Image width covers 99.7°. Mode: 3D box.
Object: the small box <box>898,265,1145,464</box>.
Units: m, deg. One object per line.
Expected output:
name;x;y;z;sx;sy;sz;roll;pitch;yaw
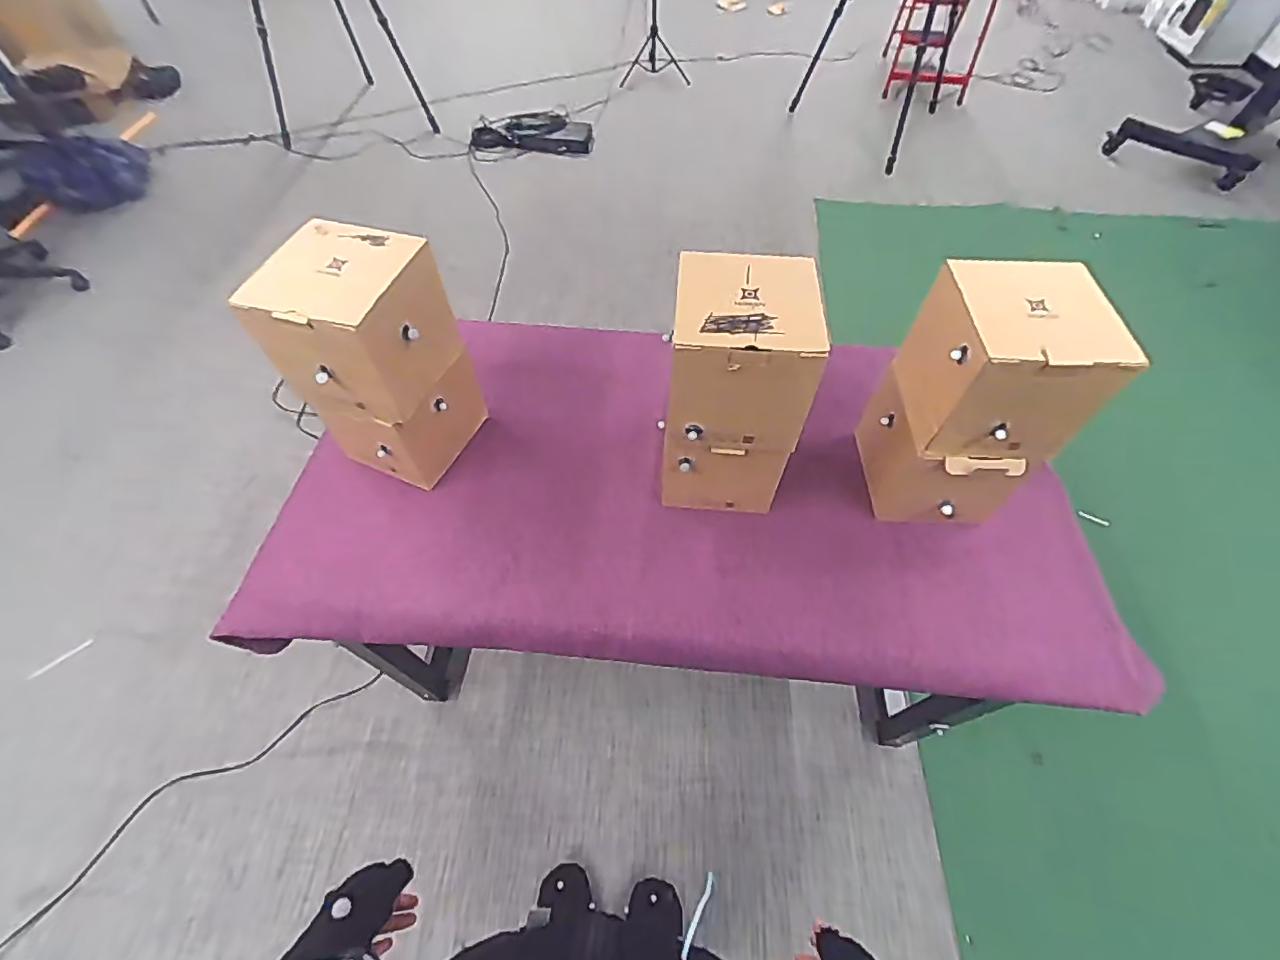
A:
small box;0.448;-0.141;0.676;0.168;0.176;0.179;2;57;1

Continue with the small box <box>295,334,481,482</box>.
small box;-0.369;-0.125;0.834;0.168;0.176;0.179;21;58;12

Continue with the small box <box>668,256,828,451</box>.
small box;0.124;-0.154;0.679;0.168;0.176;0.179;4;55;2

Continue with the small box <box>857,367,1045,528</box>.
small box;0.443;-0.047;0.809;0.168;0.176;0.179;1;56;1

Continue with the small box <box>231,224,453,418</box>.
small box;-0.367;-0.204;0.712;0.168;0.176;0.179;10;57;6
